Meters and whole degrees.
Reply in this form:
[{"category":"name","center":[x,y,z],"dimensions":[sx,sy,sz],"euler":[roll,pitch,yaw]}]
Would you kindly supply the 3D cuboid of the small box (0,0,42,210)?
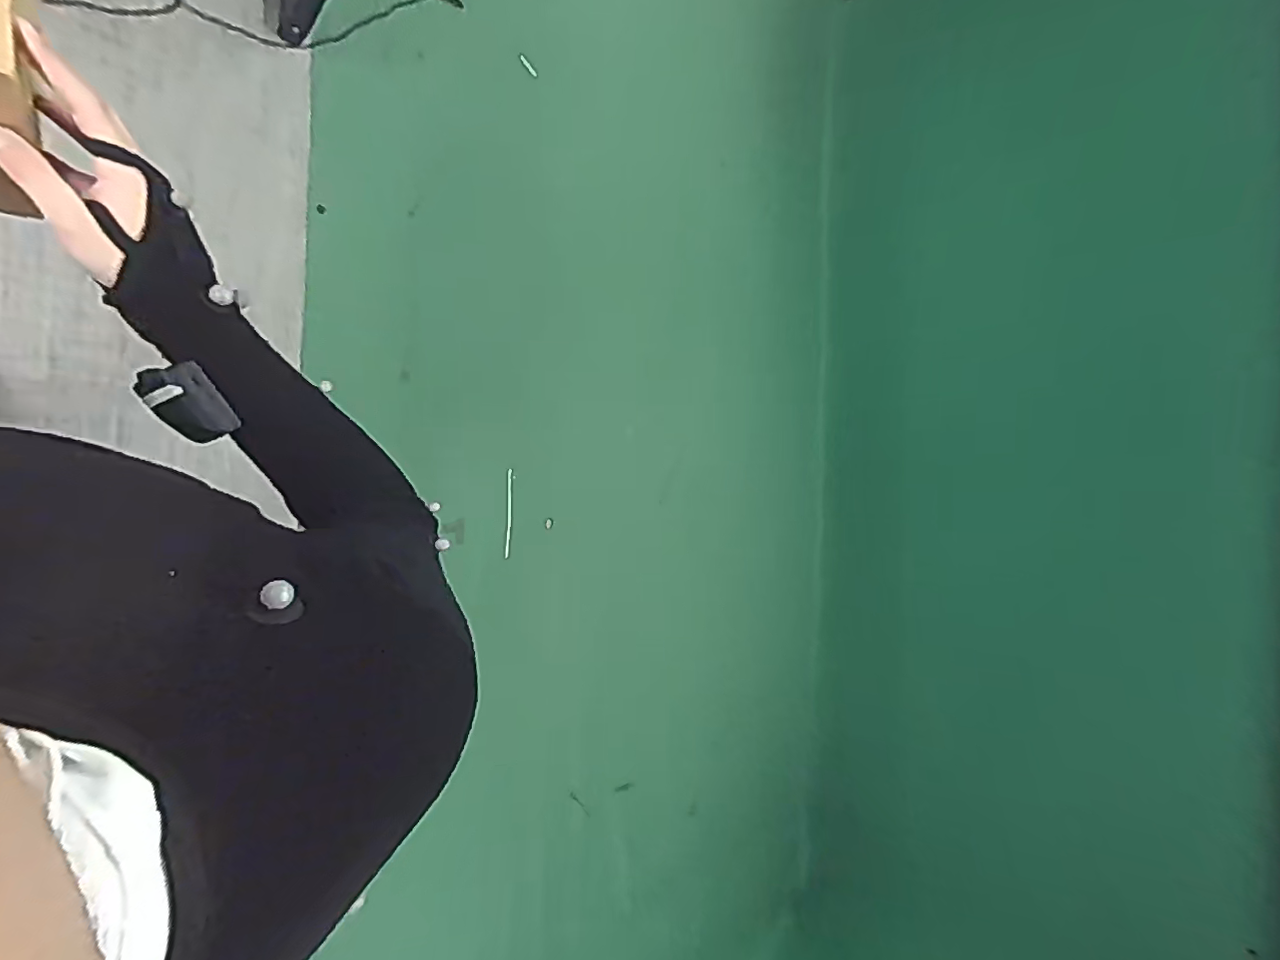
[{"category":"small box","center":[-0.491,-0.305,0.322],"dimensions":[0.168,0.176,0.179],"euler":[-2,82,-43]}]
